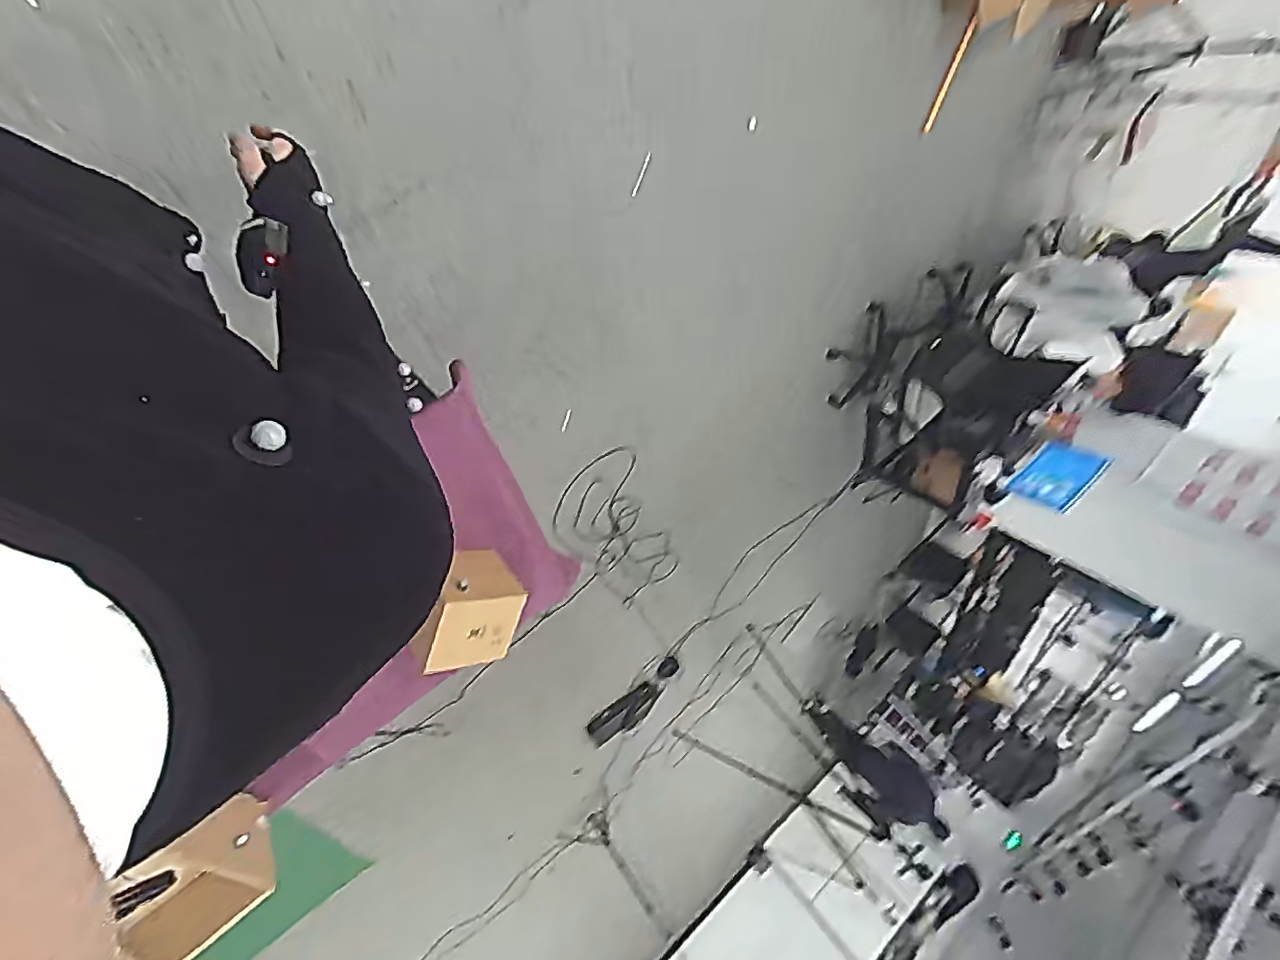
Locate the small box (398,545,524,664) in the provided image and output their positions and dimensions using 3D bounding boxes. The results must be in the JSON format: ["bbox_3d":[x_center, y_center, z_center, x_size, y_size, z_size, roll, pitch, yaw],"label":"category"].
[{"bbox_3d":[-0.374,0.245,1.111,0.179,0.176,0.168,5,115,-45],"label":"small box"}]
